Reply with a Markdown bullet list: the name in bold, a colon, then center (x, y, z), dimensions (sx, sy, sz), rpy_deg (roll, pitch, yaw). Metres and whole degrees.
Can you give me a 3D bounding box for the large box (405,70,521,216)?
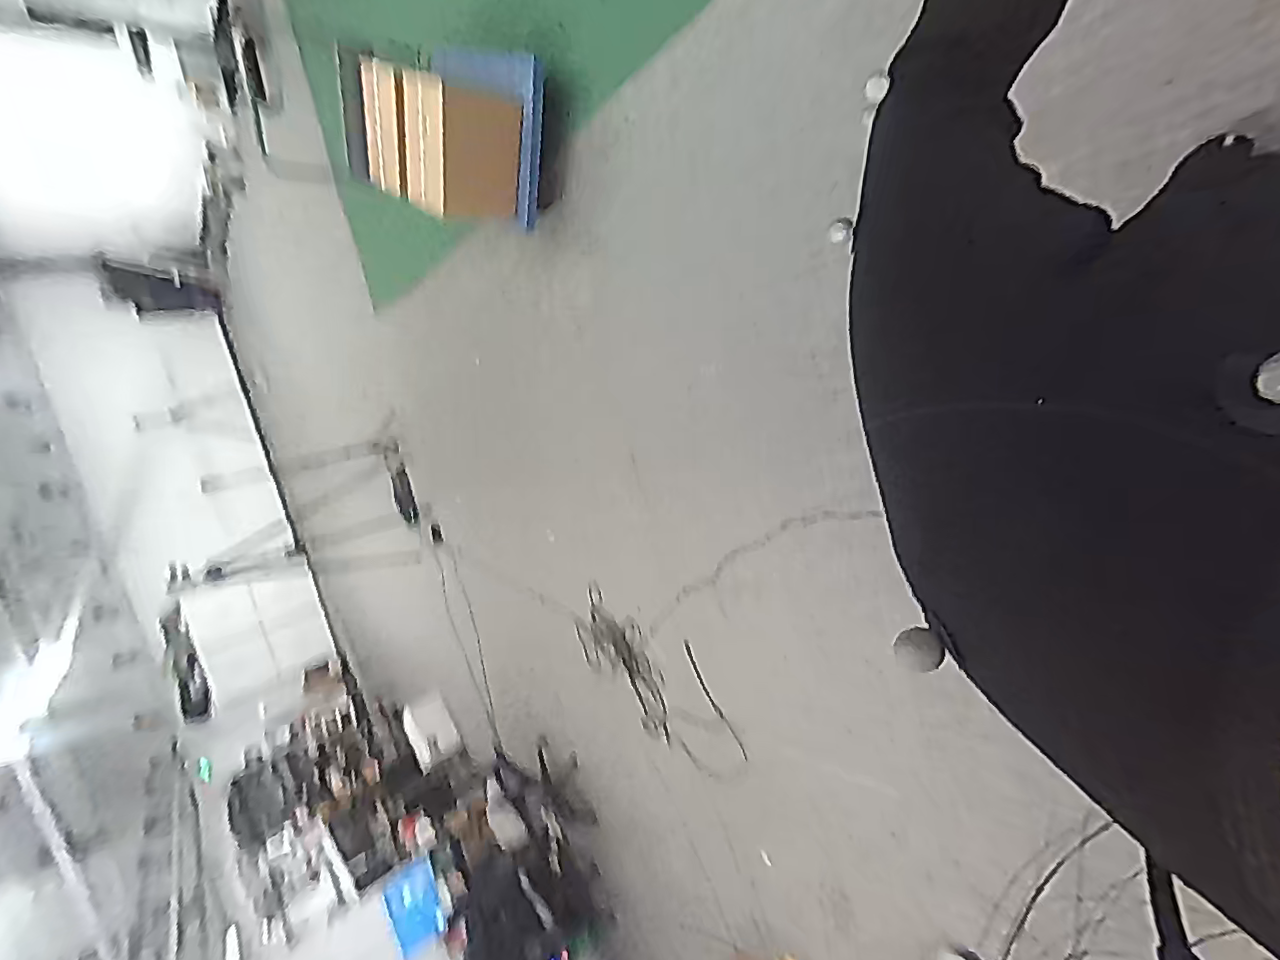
- **large box**: center (-0.670, -1.255, 2.042), dimensions (0.320, 0.320, 0.408), rpy_deg (39, 131, 33)
